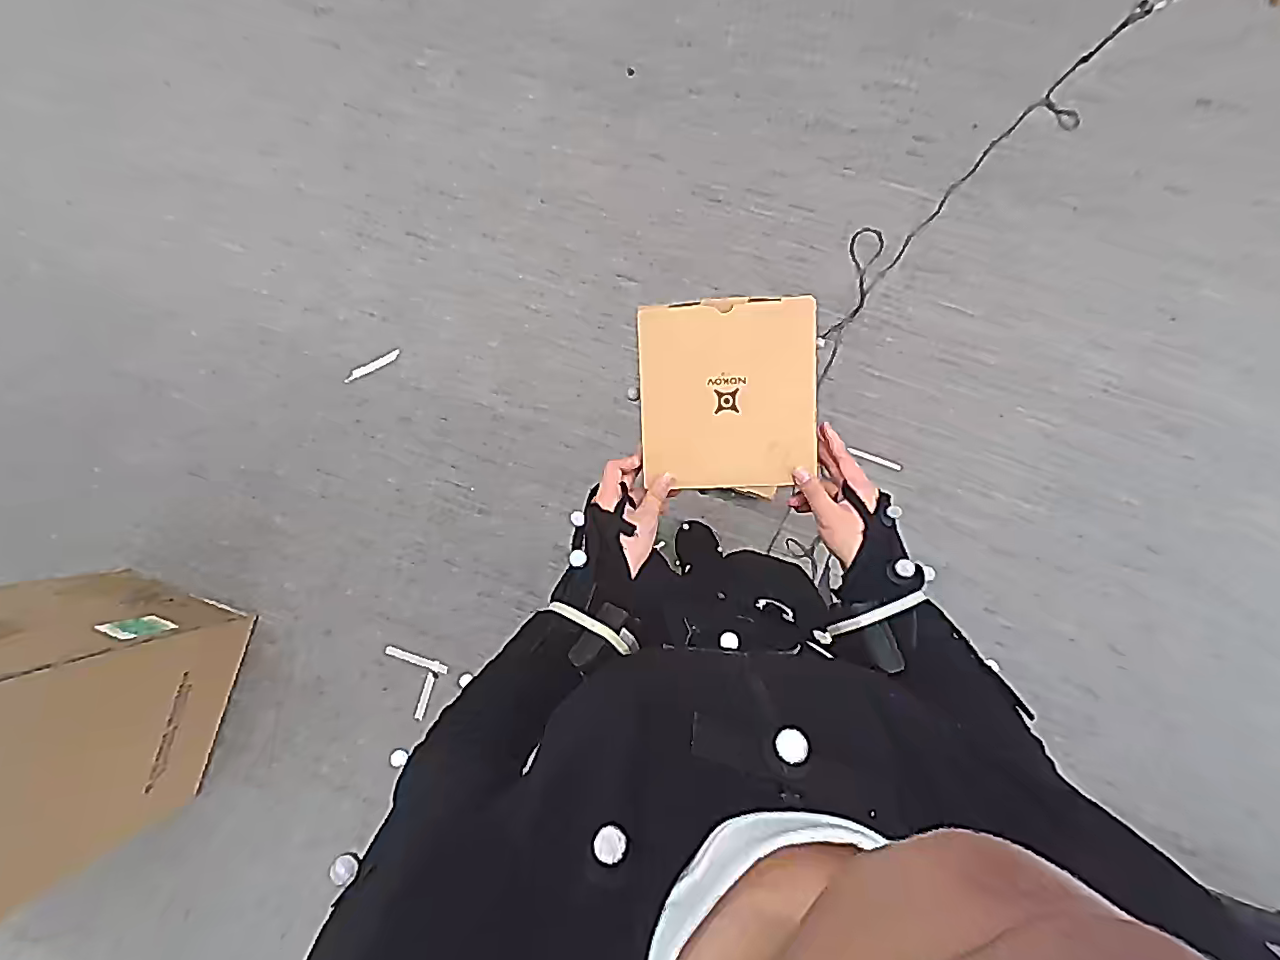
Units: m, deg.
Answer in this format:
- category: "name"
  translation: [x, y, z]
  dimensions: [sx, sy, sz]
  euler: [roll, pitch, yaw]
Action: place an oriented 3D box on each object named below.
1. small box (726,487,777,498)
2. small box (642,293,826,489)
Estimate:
- category: "small box"
  translation: [0.250, -0.063, 1.276]
  dimensions: [0.168, 0.176, 0.179]
  euler: [17, 90, 5]
- category: "small box"
  translation: [0.092, -0.088, 0.571]
  dimensions: [0.168, 0.176, 0.179]
  euler: [-1, 96, 5]
